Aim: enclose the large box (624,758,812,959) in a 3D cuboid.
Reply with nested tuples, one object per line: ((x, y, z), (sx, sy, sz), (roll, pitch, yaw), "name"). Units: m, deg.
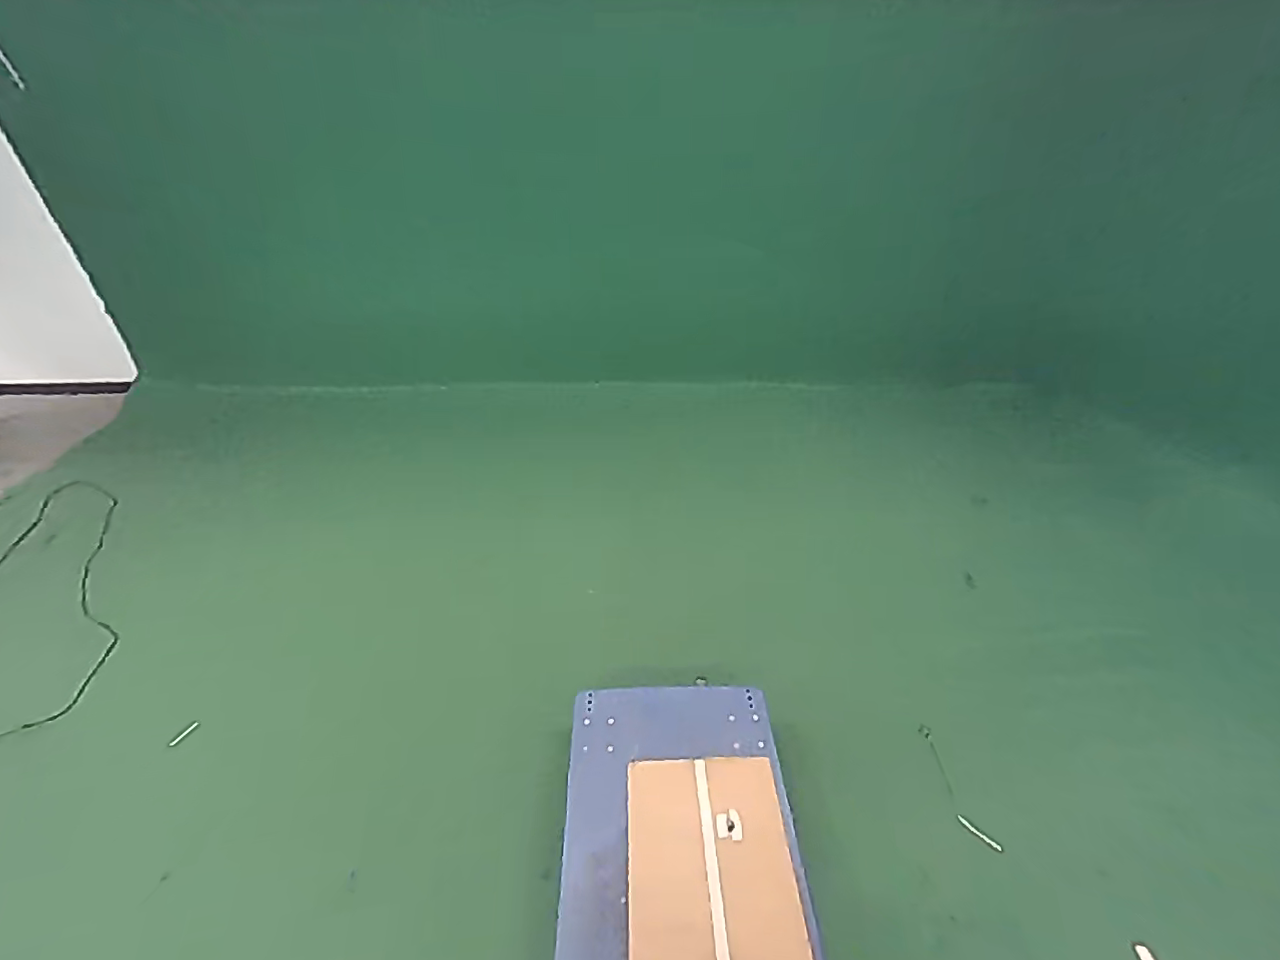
((0.130, 0.853, 1.108), (0.320, 0.320, 0.408), (-1, 35, -2), "large box")
